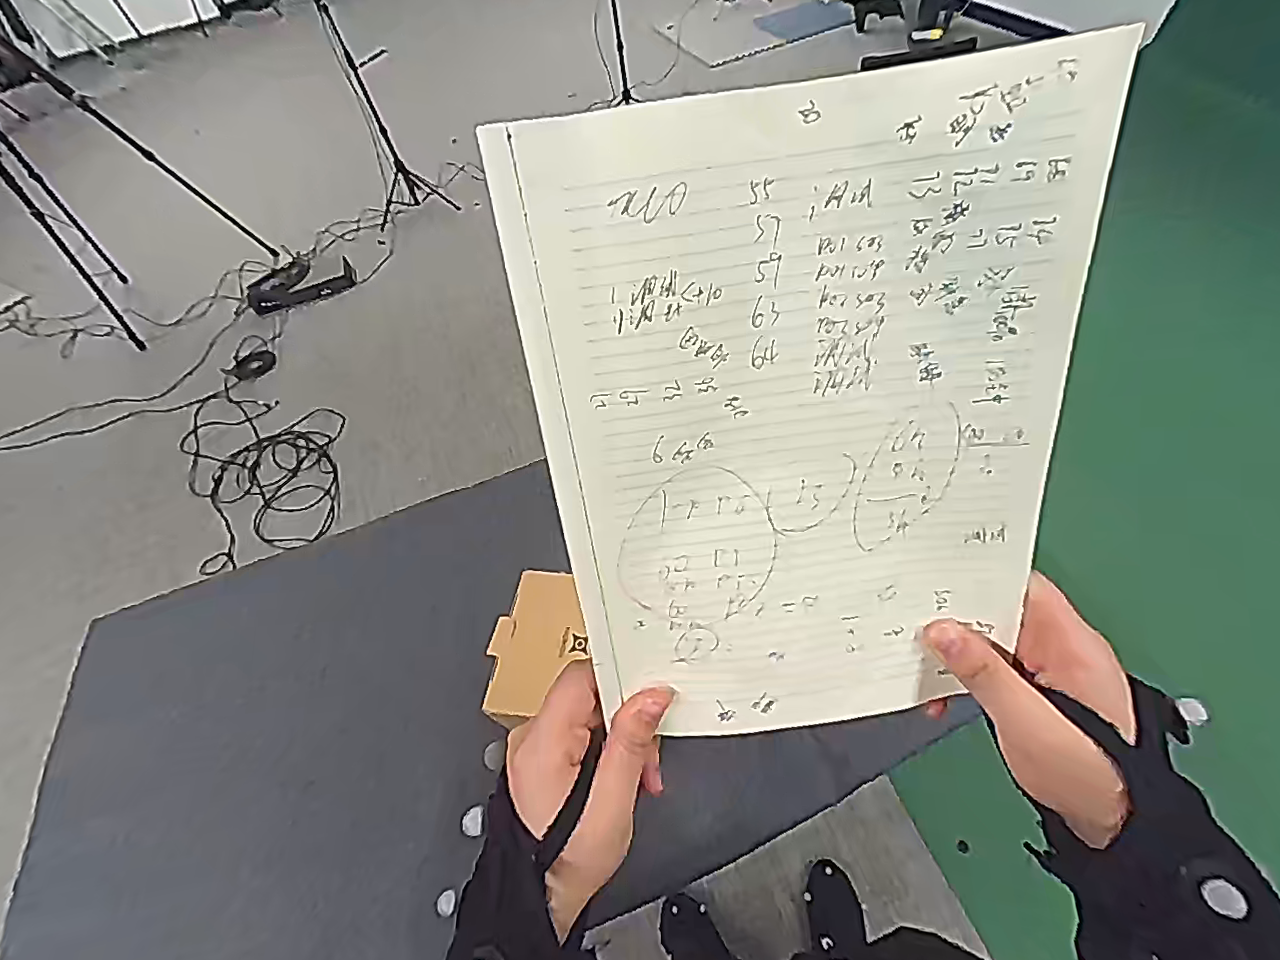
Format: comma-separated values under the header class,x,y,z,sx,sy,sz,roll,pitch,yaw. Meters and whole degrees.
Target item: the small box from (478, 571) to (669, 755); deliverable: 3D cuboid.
class,x,y,z,sx,sy,sz,roll,pitch,yaw
small box,-0.063,0.226,0.658,0.179,0.176,0.168,2,55,12
